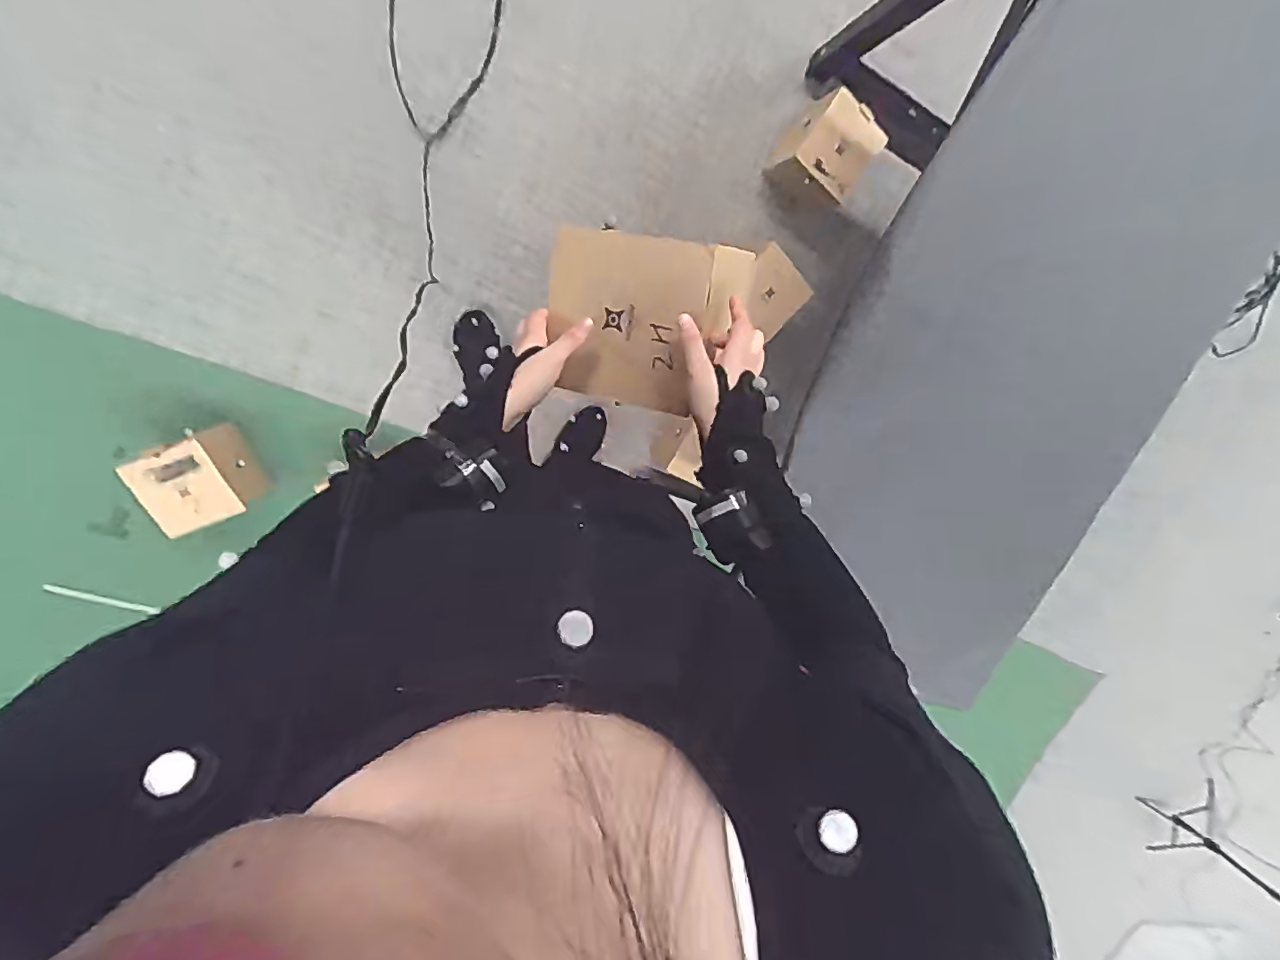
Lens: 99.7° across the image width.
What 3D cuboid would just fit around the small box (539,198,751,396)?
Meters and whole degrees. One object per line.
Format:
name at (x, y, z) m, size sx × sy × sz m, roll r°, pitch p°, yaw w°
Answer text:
small box at (0.009, -0.206, 0.603) m, size 0.179 × 0.176 × 0.168 m, roll 16°, pitch 116°, yaw 18°

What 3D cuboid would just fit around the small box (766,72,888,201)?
small box at (0.431, -0.794, 1.274) m, size 0.168 × 0.176 × 0.179 m, roll 32°, pitch 98°, yaw -21°

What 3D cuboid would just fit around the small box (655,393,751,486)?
small box at (0.159, -0.114, 1.445) m, size 0.168 × 0.176 × 0.179 m, roll 25°, pitch 102°, yaw -20°

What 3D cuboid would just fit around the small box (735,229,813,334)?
small box at (0.284, -0.488, 1.345) m, size 0.168 × 0.176 × 0.179 m, roll 40°, pitch 94°, yaw -24°

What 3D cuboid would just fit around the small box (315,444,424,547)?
small box at (-0.636, 0.031, 1.299) m, size 0.168 × 0.176 × 0.179 m, roll -16°, pitch 111°, yaw -8°
